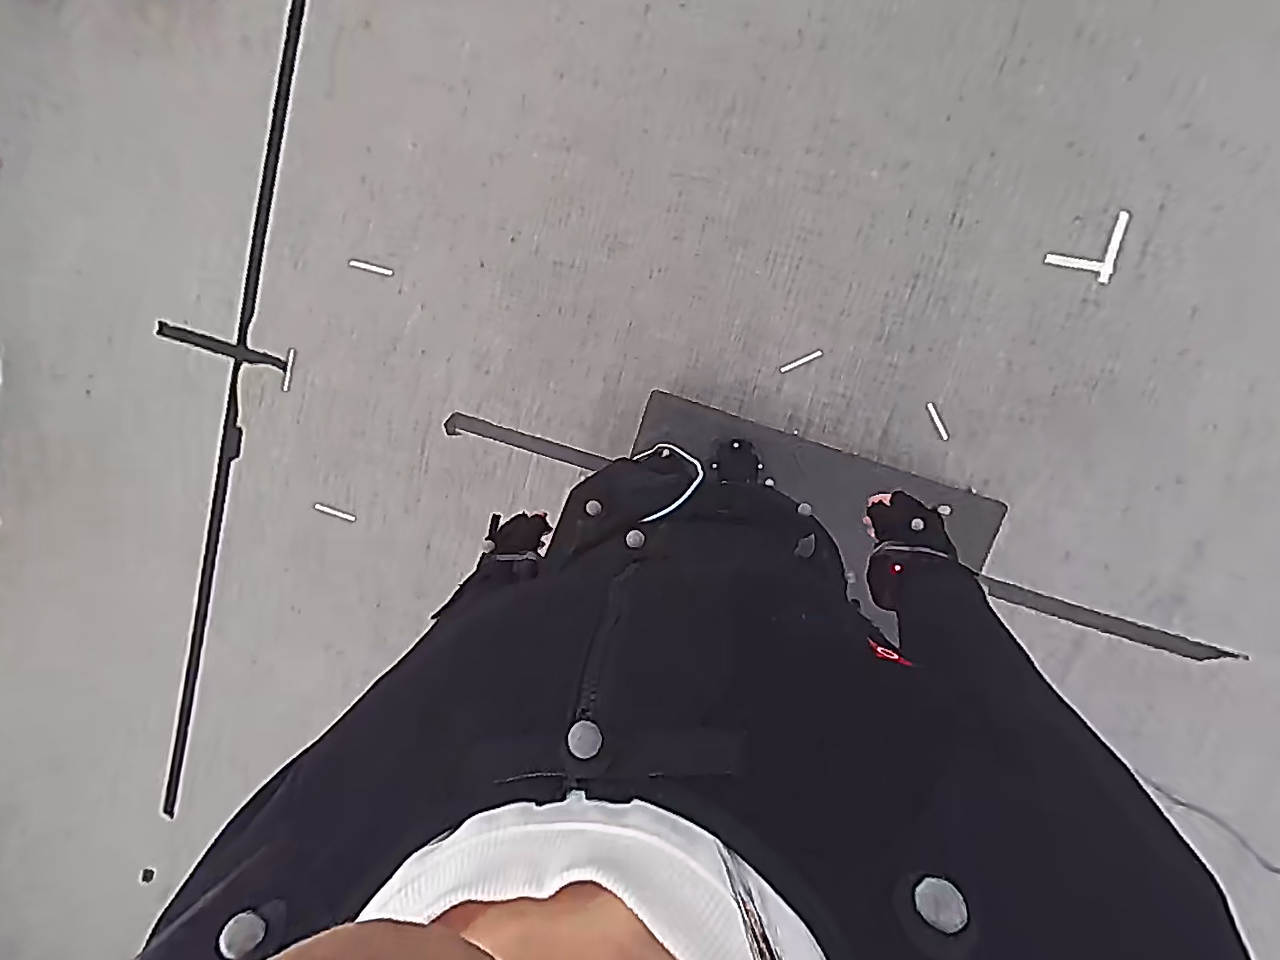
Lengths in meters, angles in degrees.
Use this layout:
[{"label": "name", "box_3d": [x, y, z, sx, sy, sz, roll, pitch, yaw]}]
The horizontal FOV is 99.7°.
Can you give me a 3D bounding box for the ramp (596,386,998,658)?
[{"label": "ramp", "box_3d": [0.422, 0.126, 1.461, 0.991, 0.206, 0.509, 17, 97, 7]}]
